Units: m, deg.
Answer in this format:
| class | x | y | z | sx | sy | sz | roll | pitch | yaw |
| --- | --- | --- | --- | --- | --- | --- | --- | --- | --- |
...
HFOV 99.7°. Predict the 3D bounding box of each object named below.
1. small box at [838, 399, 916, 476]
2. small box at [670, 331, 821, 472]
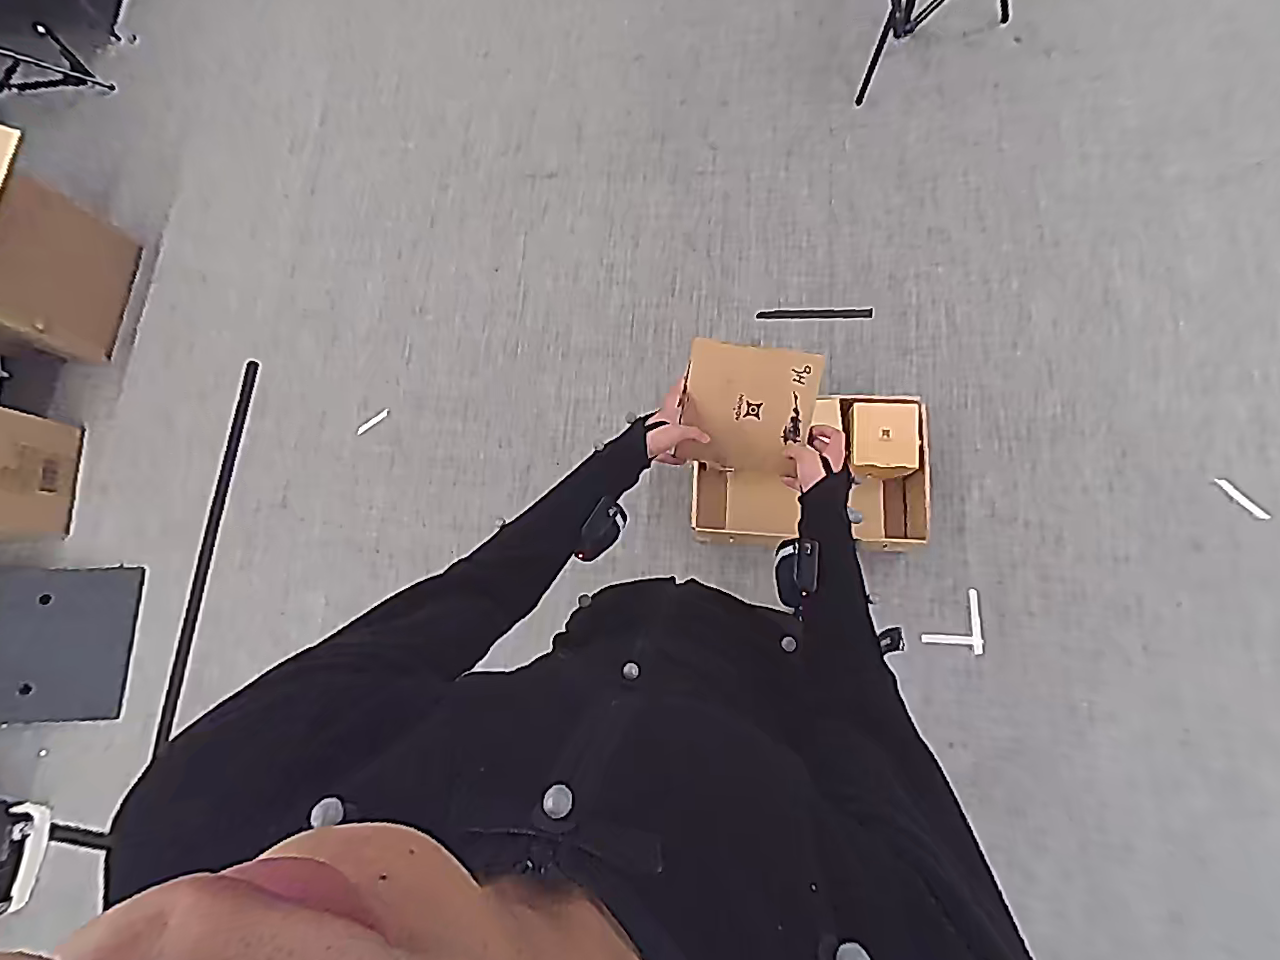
| class | x | y | z | sx | sy | sz | roll | pitch | yaw |
| --- | --- | --- | --- | --- | --- | --- | --- | --- | --- |
| small box | 0.654 | -0.115 | 1.507 | 0.168 | 0.176 | 0.179 | 3 | 81 | 9 |
| small box | 0.150 | -0.118 | 0.801 | 0.179 | 0.176 | 0.168 | 10 | 102 | 7 |
